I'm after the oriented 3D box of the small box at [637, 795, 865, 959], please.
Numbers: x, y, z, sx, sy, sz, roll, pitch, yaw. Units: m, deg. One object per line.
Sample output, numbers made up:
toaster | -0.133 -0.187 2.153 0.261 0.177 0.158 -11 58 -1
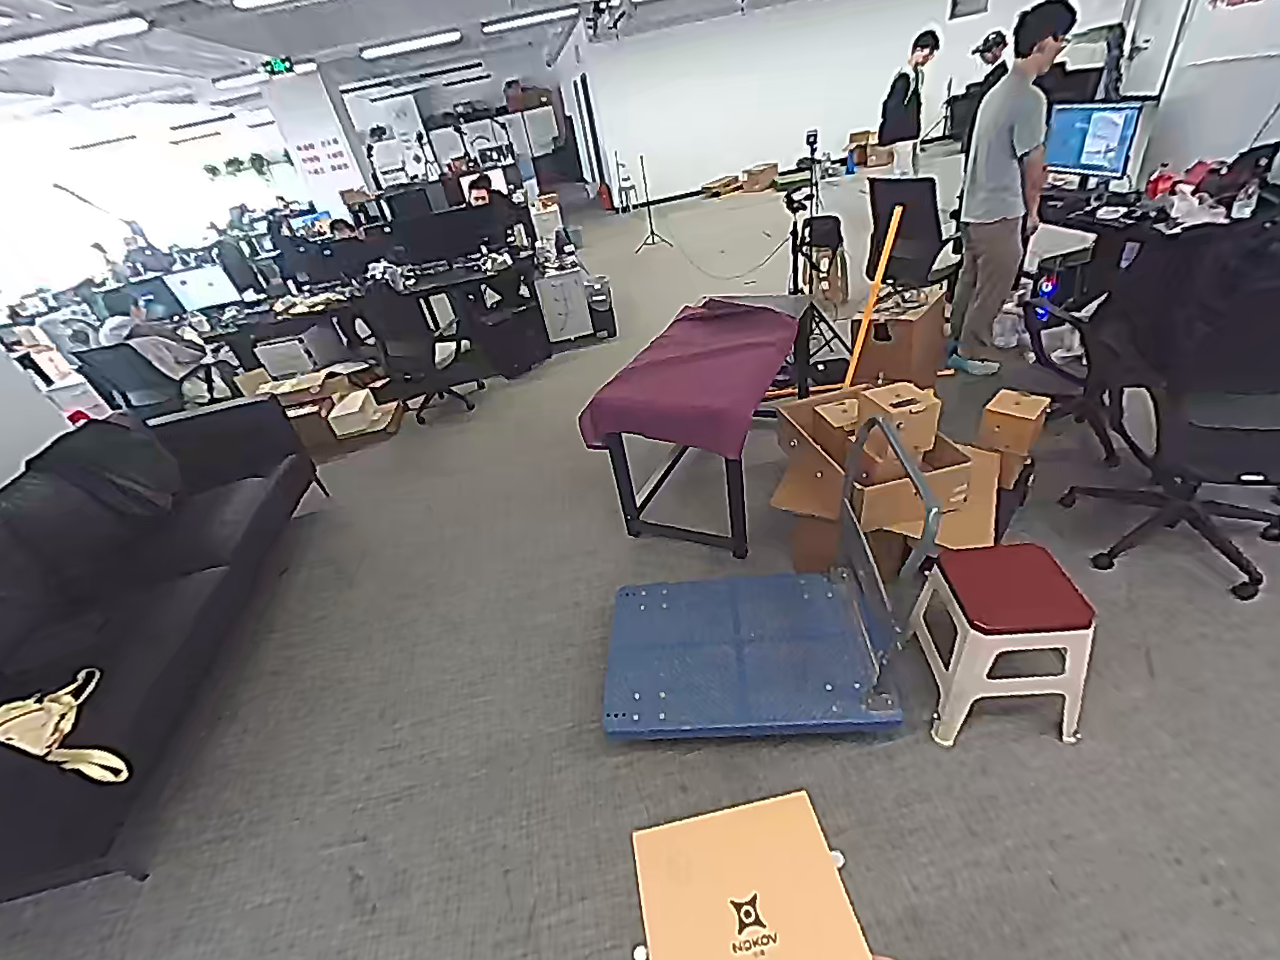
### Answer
small box | 0.096 0.421 0.480 0.168 0.176 0.179 -12 37 -2
